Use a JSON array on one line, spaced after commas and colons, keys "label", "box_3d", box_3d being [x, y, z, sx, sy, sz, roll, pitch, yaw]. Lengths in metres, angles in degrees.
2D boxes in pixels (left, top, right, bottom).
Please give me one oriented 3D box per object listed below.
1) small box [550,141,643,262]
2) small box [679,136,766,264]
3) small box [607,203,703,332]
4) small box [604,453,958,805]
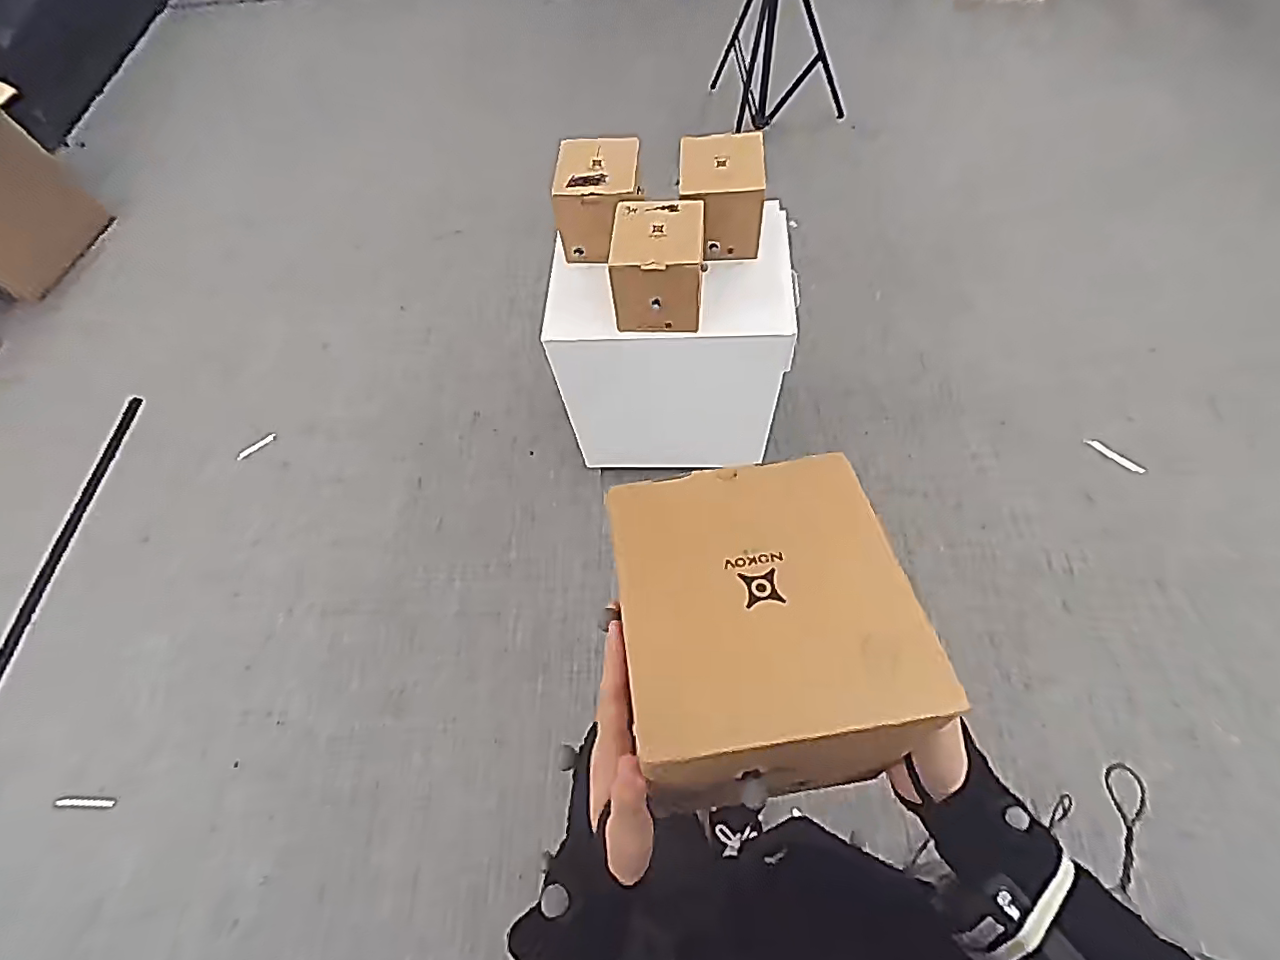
[{"label": "small box", "box_3d": [-0.083, -0.584, 1.150, 0.168, 0.176, 0.179, 2, 63, 5]}, {"label": "small box", "box_3d": [0.167, -0.578, 1.128, 0.168, 0.176, 0.179, 0, 65, 6]}, {"label": "small box", "box_3d": [0.036, -0.406, 1.051, 0.168, 0.176, 0.179, 2, 64, 6]}, {"label": "small box", "box_3d": [0.073, 0.110, 0.376, 0.168, 0.176, 0.179, -9, 50, -2]}]
